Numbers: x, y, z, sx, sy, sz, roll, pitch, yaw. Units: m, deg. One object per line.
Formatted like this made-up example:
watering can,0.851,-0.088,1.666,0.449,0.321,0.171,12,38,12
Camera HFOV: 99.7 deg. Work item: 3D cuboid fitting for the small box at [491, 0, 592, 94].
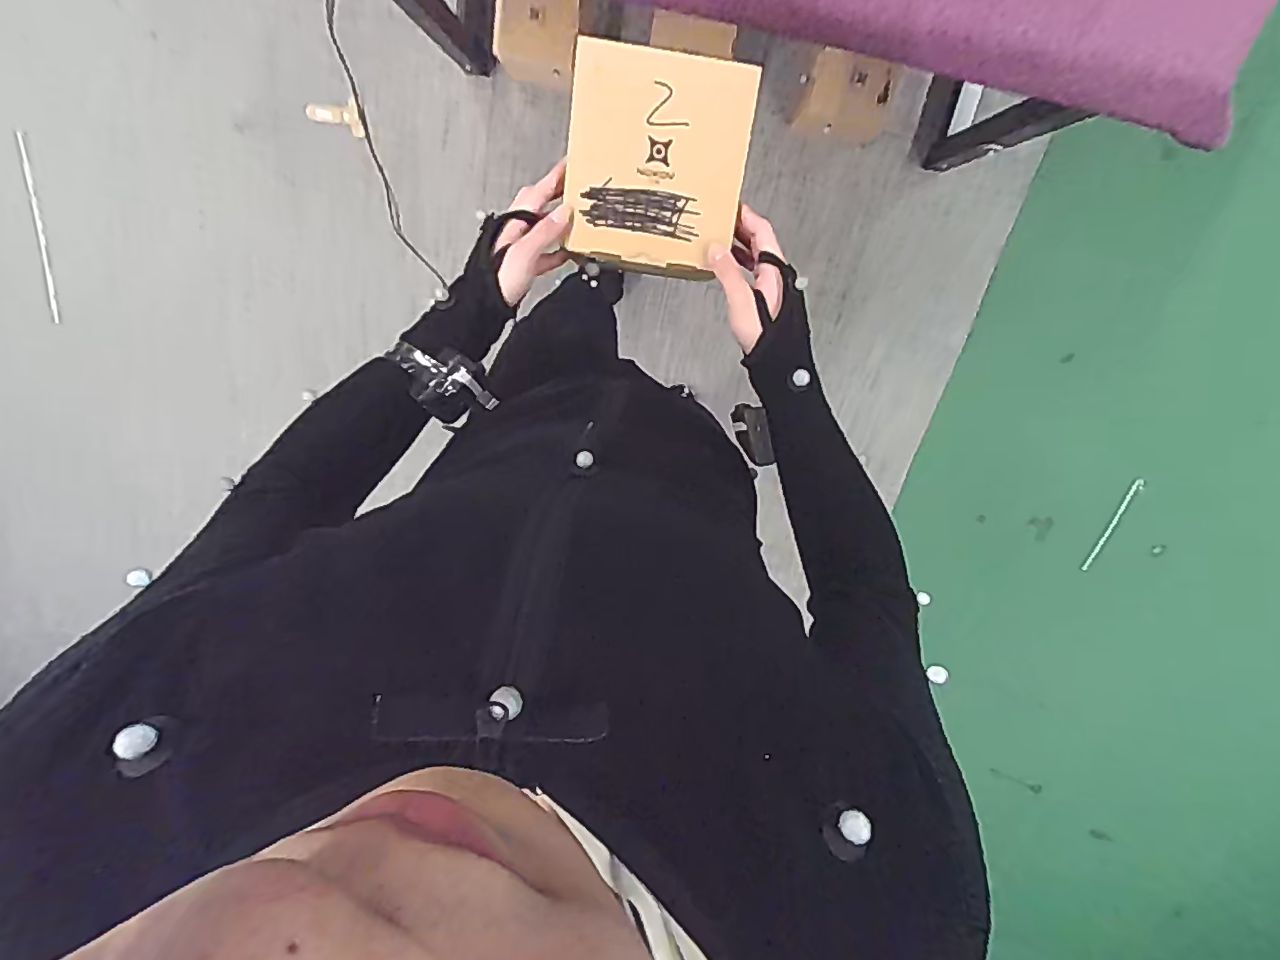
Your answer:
small box,-0.211,-0.983,1.192,0.179,0.176,0.168,11,111,-1

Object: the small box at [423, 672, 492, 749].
small box,-0.636,0.798,1.888,0.179,0.176,0.168,11,111,-2

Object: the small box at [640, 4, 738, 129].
small box,0.105,-0.906,1.204,0.179,0.176,0.168,12,110,-1

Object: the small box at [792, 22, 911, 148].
small box,0.455,-0.863,1.200,0.179,0.176,0.168,14,111,-2
